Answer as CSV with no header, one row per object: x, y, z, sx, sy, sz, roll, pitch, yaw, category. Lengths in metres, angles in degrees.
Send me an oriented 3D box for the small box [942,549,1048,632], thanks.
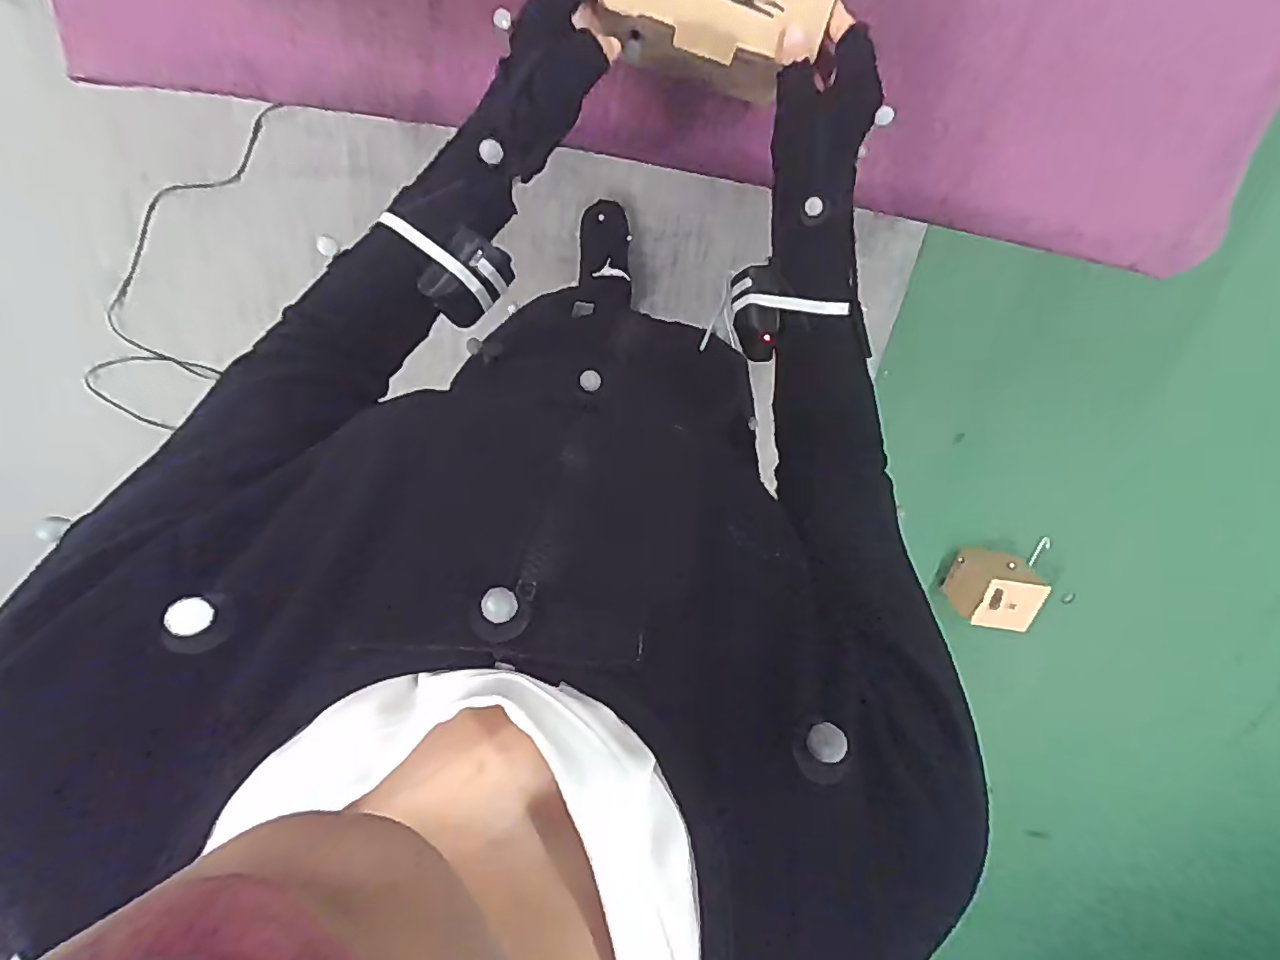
1.038,0.322,1.601,0.179,0.176,0.168,9,116,-3,small box
